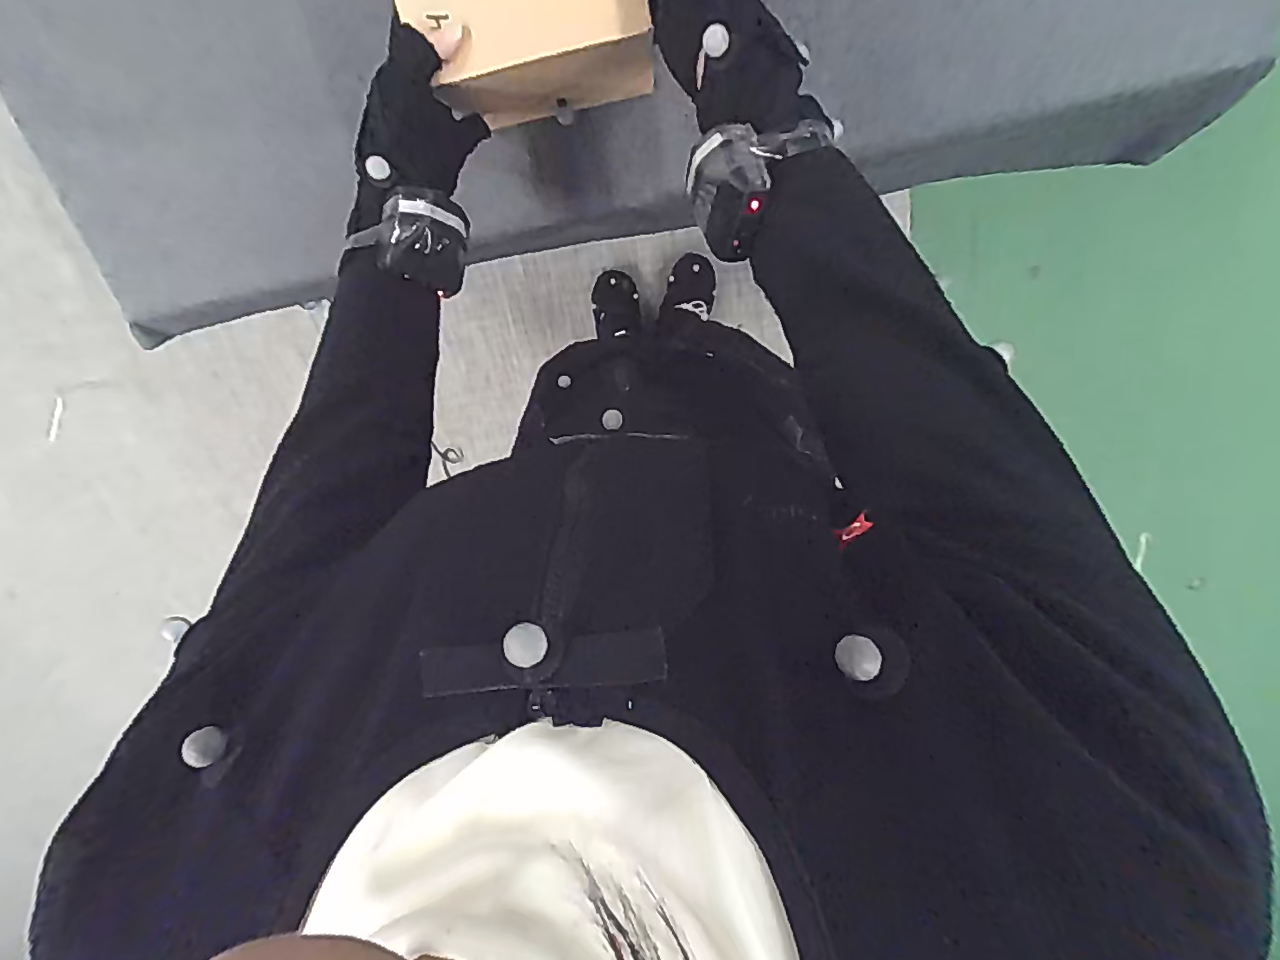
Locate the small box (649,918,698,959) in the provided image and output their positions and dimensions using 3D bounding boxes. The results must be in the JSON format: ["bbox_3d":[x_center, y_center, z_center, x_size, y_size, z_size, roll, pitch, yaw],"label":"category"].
[{"bbox_3d":[0.130,1.789,2.023,0.168,0.176,0.179,-9,112,4],"label":"small box"}]

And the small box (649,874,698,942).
[{"bbox_3d":[0.132,1.716,2.168,0.179,0.176,0.168,-7,113,5],"label":"small box"}]

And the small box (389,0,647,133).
[{"bbox_3d":[-0.093,-0.402,0.434,0.179,0.176,0.168,-9,113,6],"label":"small box"}]
